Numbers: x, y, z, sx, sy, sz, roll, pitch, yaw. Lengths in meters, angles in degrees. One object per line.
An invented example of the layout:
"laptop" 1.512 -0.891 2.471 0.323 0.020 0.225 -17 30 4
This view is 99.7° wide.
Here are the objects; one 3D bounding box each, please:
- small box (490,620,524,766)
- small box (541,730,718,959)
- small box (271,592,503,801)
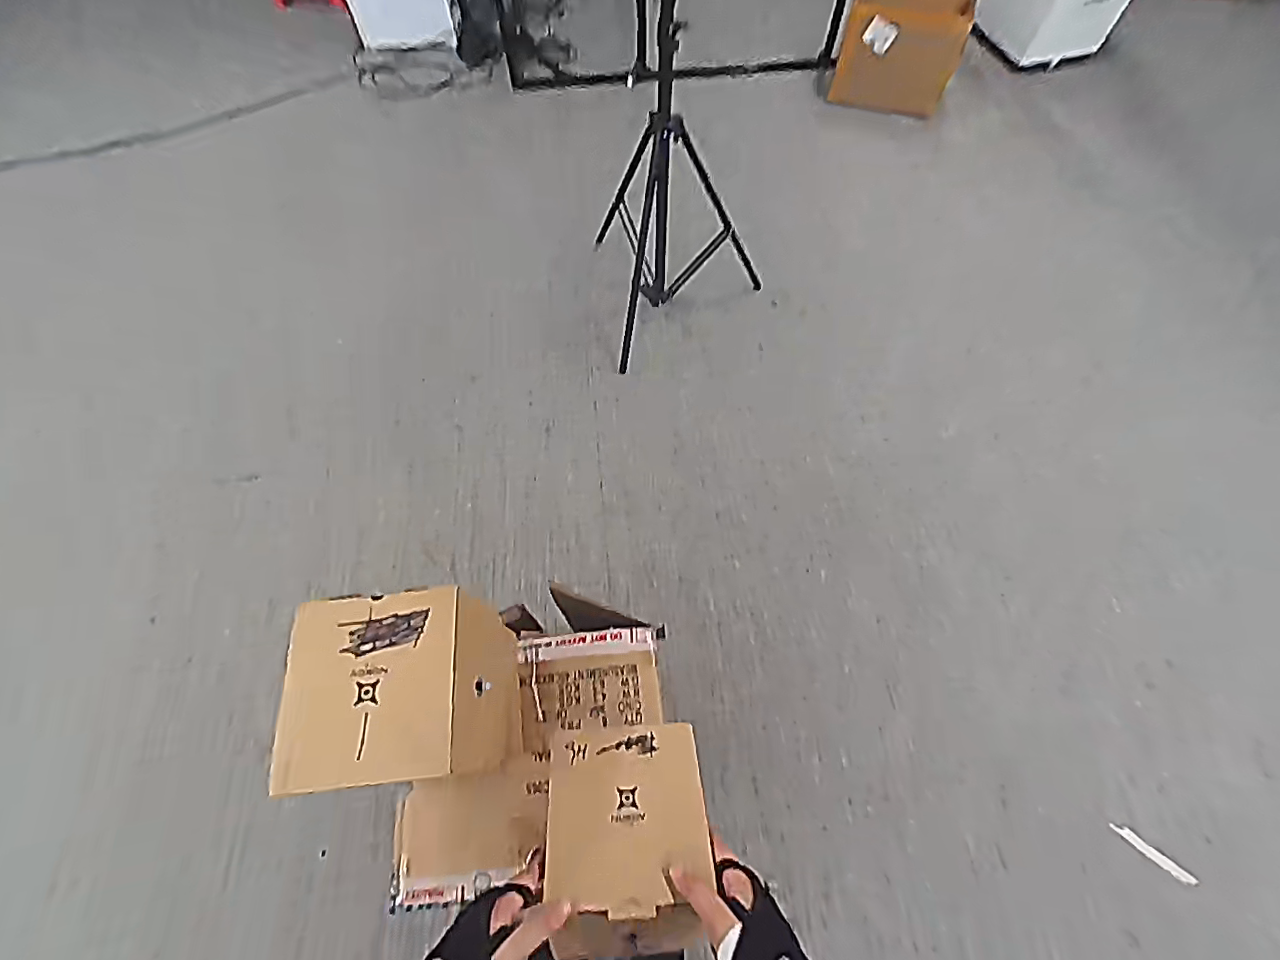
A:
"small box" -0.262 0.304 0.737 0.168 0.176 0.179 -10 65 -2
"small box" -0.013 0.408 0.604 0.168 0.176 0.179 -2 39 -3
"small box" -0.252 0.234 0.588 0.168 0.176 0.179 -6 65 0
